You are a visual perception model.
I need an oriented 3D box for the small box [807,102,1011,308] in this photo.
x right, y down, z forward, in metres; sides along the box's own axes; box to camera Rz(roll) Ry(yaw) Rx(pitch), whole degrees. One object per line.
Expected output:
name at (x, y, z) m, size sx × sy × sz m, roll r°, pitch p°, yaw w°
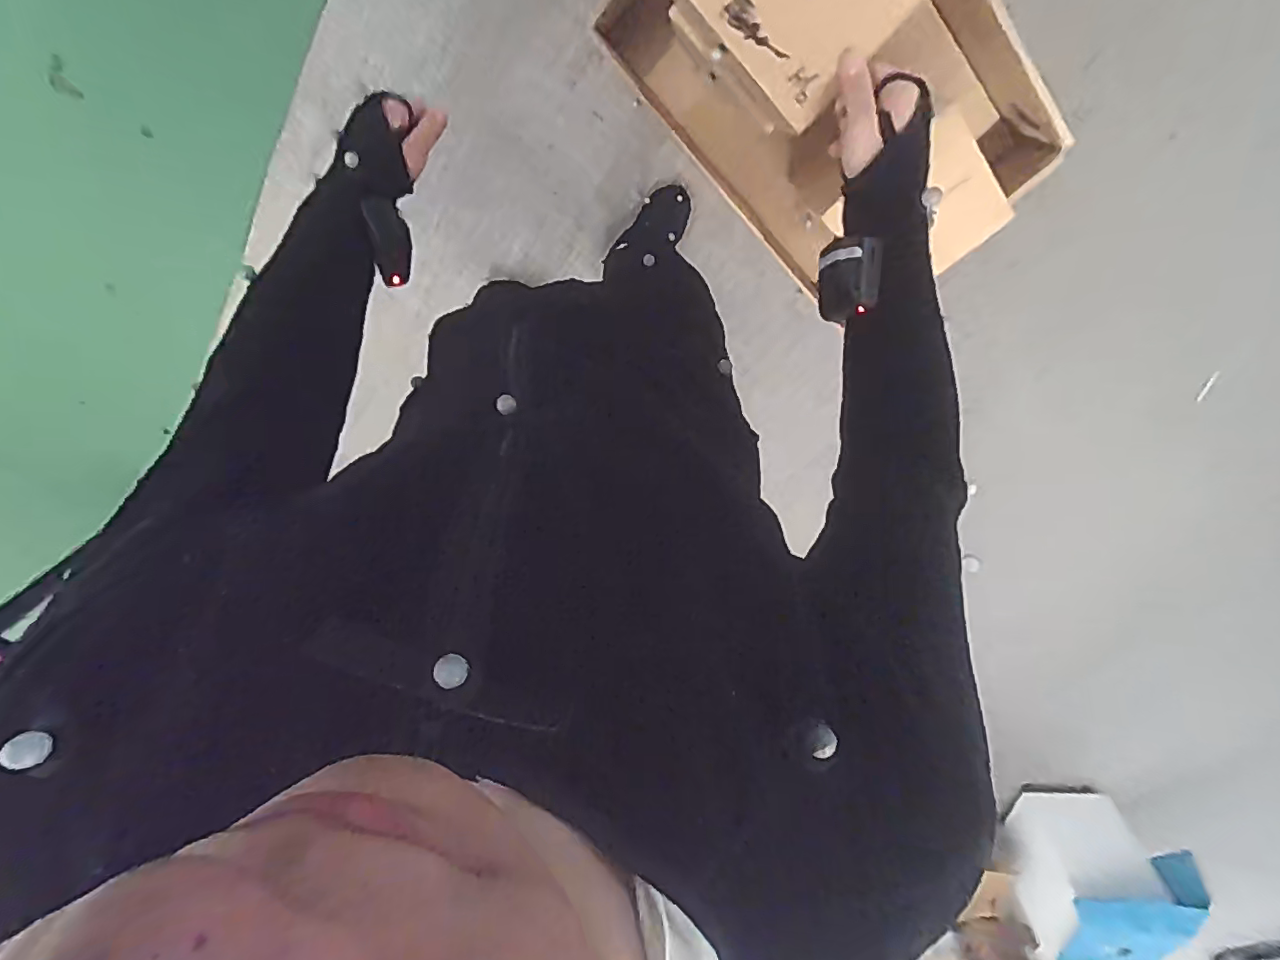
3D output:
small box at (0.349, -0.373, 0.740) m, size 0.179 × 0.176 × 0.168 m, roll -37°, pitch 114°, yaw 25°

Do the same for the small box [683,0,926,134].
small box at (0.150, -0.458, 0.493) m, size 0.168 × 0.176 × 0.179 m, roll 38°, pitch 120°, yaw -19°

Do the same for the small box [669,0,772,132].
small box at (0.154, -0.549, 0.631) m, size 0.168 × 0.176 × 0.179 m, roll 39°, pitch 120°, yaw -21°
